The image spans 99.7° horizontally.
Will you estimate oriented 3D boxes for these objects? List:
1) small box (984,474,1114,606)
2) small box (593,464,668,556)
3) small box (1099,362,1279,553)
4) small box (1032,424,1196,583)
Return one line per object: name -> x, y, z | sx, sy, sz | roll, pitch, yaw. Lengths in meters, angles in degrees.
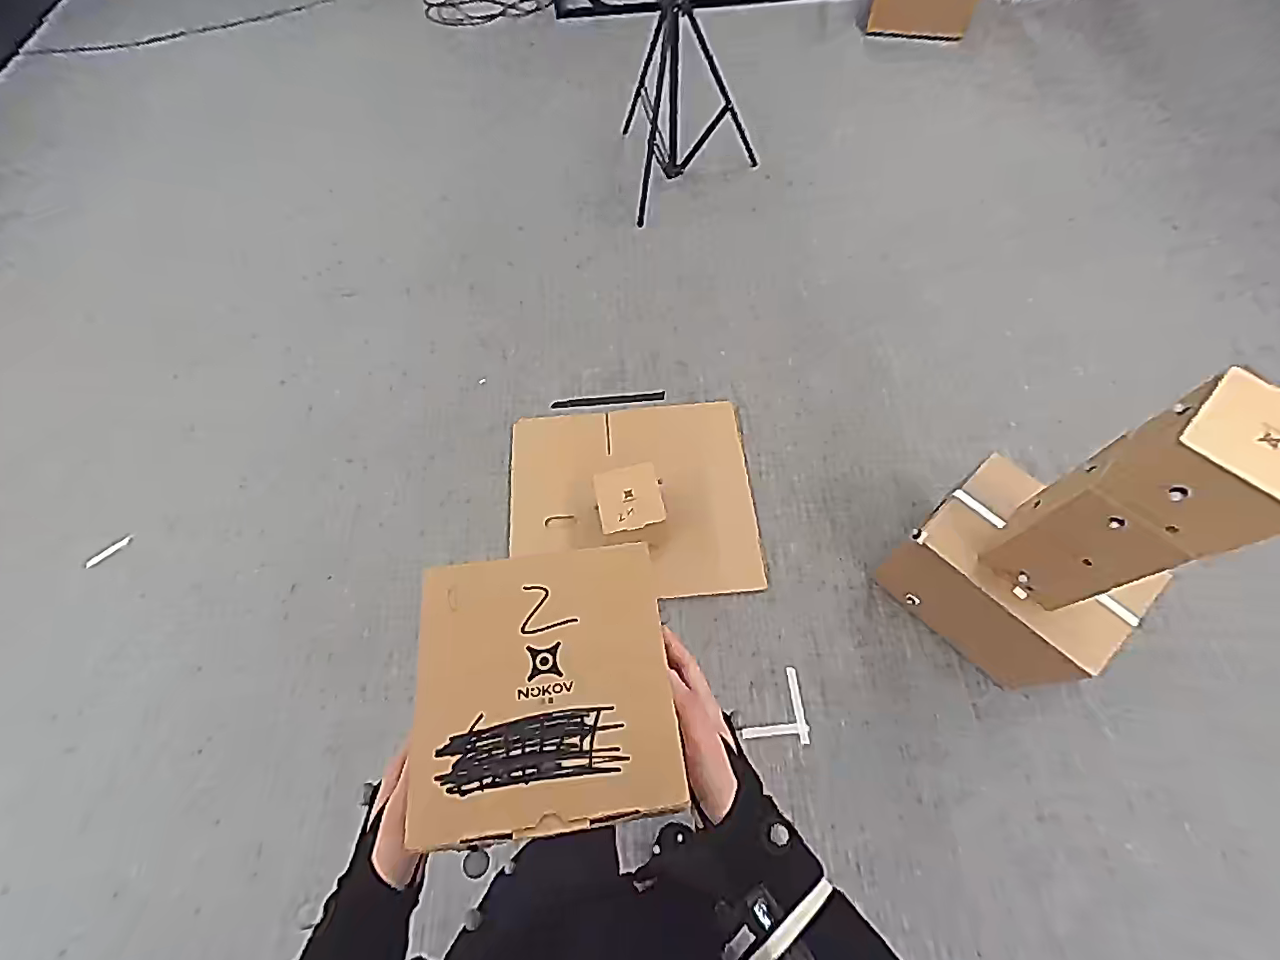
small box -> 0.828, 0.120, 1.065 | 0.179, 0.176, 0.168 | -42, 69, -16
small box -> -0.023, 0.084, 1.460 | 0.168, 0.176, 0.179 | -14, 64, -1
small box -> 0.816, -0.024, 0.772 | 0.179, 0.176, 0.168 | -42, 69, -17
small box -> 0.823, 0.044, 0.920 | 0.179, 0.176, 0.168 | -41, 68, -17
